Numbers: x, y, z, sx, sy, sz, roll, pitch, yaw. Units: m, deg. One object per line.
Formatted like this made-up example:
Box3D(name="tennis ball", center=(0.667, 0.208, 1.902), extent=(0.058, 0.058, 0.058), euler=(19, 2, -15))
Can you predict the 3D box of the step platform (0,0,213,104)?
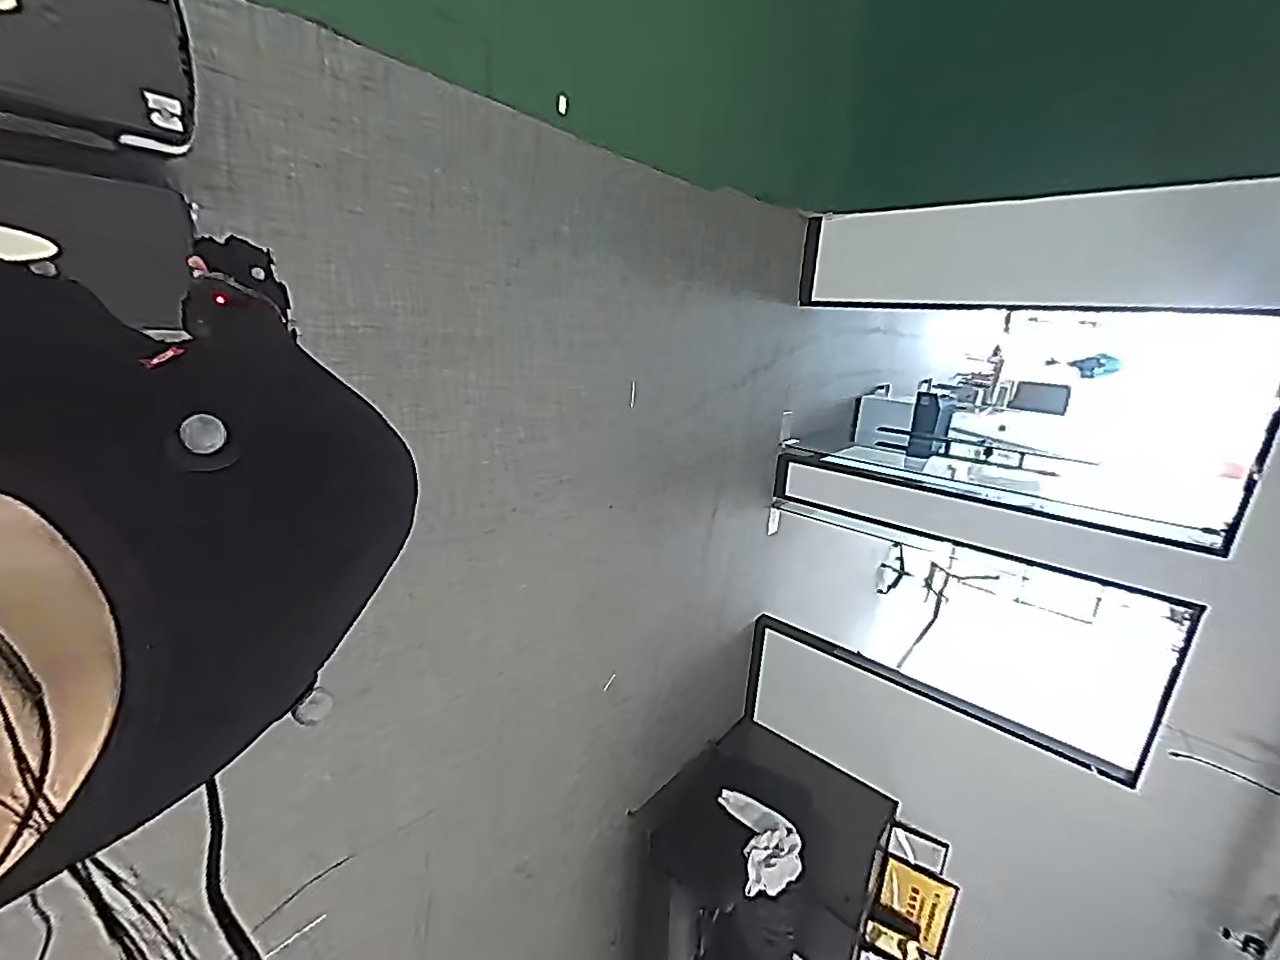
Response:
Box3D(name="step platform", center=(-0.931, -0.692, 0.608), extent=(0.684, 0.204, 0.286), euler=(-14, 115, -47))
